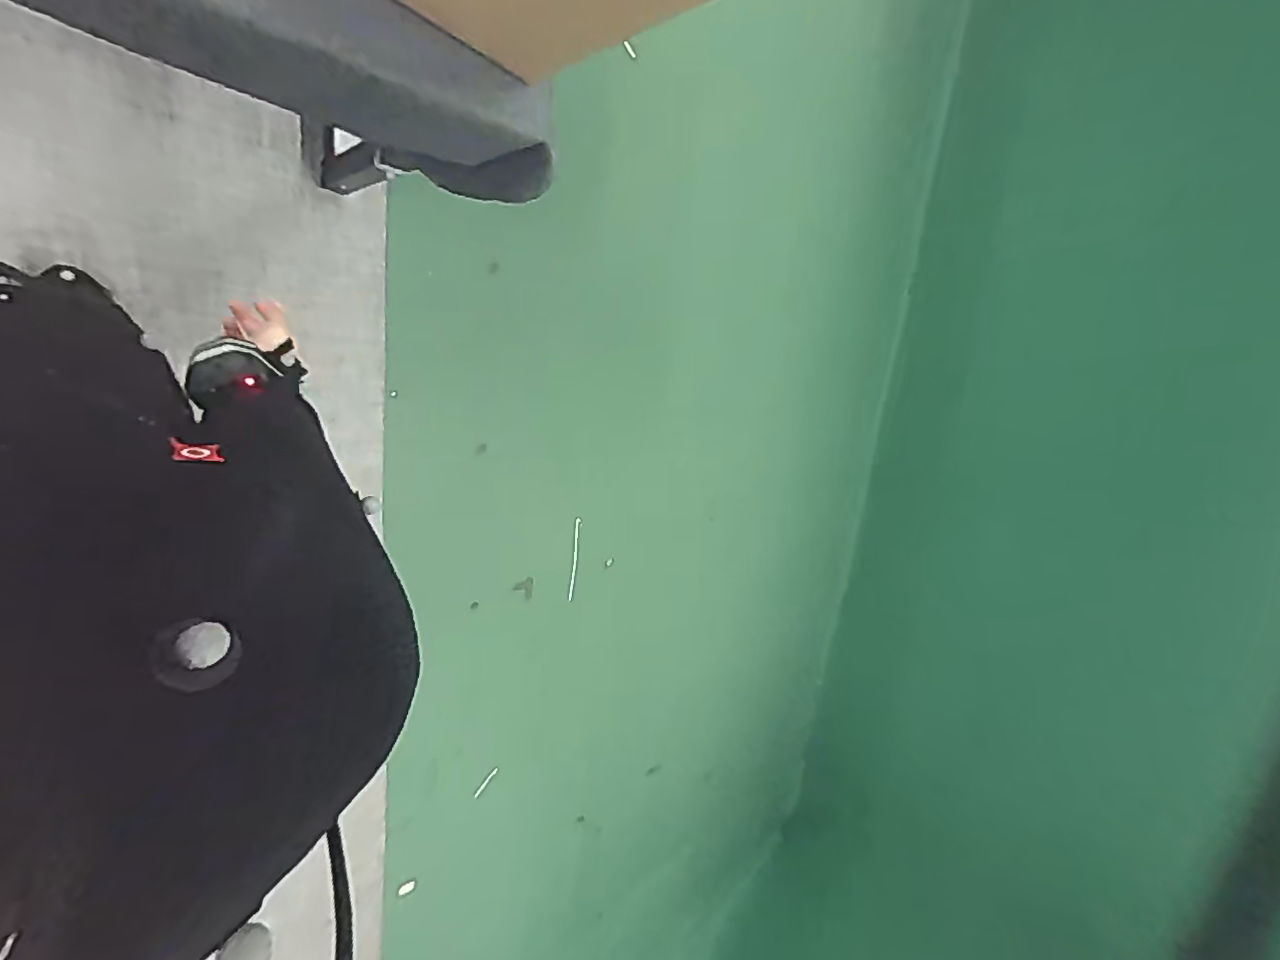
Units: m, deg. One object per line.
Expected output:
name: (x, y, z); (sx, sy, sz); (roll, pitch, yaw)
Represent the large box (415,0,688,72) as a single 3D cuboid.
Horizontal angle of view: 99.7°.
large box: (-0.139, -0.614, 0.409); (0.408, 0.320, 0.320); (-1, 105, -47)
